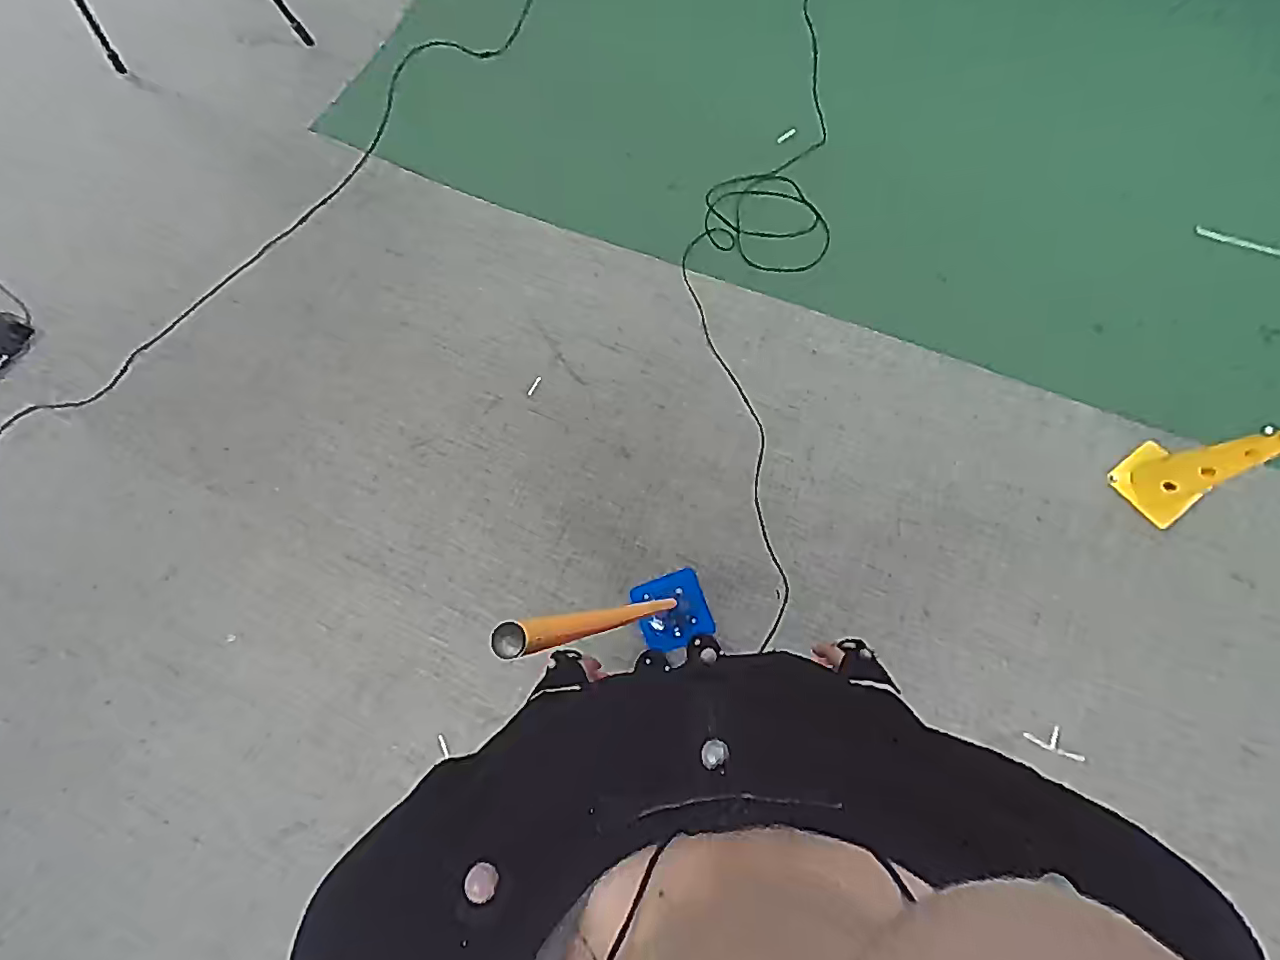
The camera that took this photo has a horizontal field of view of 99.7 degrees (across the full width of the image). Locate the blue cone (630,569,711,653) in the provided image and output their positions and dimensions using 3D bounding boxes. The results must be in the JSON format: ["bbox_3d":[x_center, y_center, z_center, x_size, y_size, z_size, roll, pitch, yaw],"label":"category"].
[{"bbox_3d":[0.072,0.317,1.329,0.193,0.380,0.192,-22,74,-2],"label":"blue cone"}]
